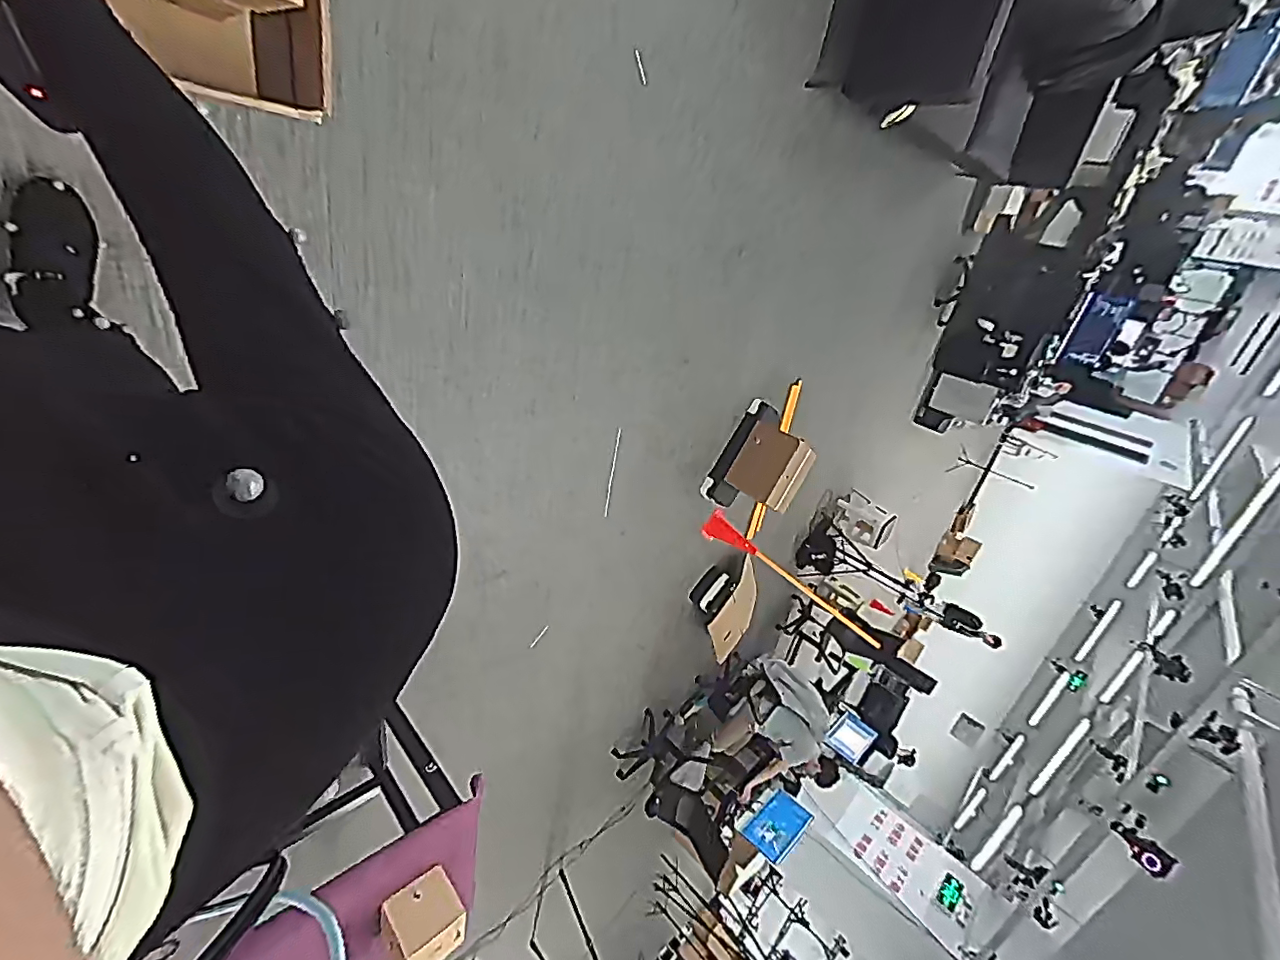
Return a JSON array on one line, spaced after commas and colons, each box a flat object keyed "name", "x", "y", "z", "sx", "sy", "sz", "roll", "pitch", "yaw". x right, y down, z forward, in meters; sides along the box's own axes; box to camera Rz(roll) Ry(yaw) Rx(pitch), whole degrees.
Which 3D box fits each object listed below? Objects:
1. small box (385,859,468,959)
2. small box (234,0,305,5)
[{"name": "small box", "x": -0.625, "y": 1.269, "z": 1.573, "sx": 0.179, "sy": 0.176, "sz": 0.168, "roll": -14, "pitch": 126, "yaw": -44}, {"name": "small box", "x": -0.480, "y": -0.641, "z": 0.574, "sx": 0.179, "sy": 0.176, "sz": 0.168, "roll": -13, "pitch": 127, "yaw": -47}]
